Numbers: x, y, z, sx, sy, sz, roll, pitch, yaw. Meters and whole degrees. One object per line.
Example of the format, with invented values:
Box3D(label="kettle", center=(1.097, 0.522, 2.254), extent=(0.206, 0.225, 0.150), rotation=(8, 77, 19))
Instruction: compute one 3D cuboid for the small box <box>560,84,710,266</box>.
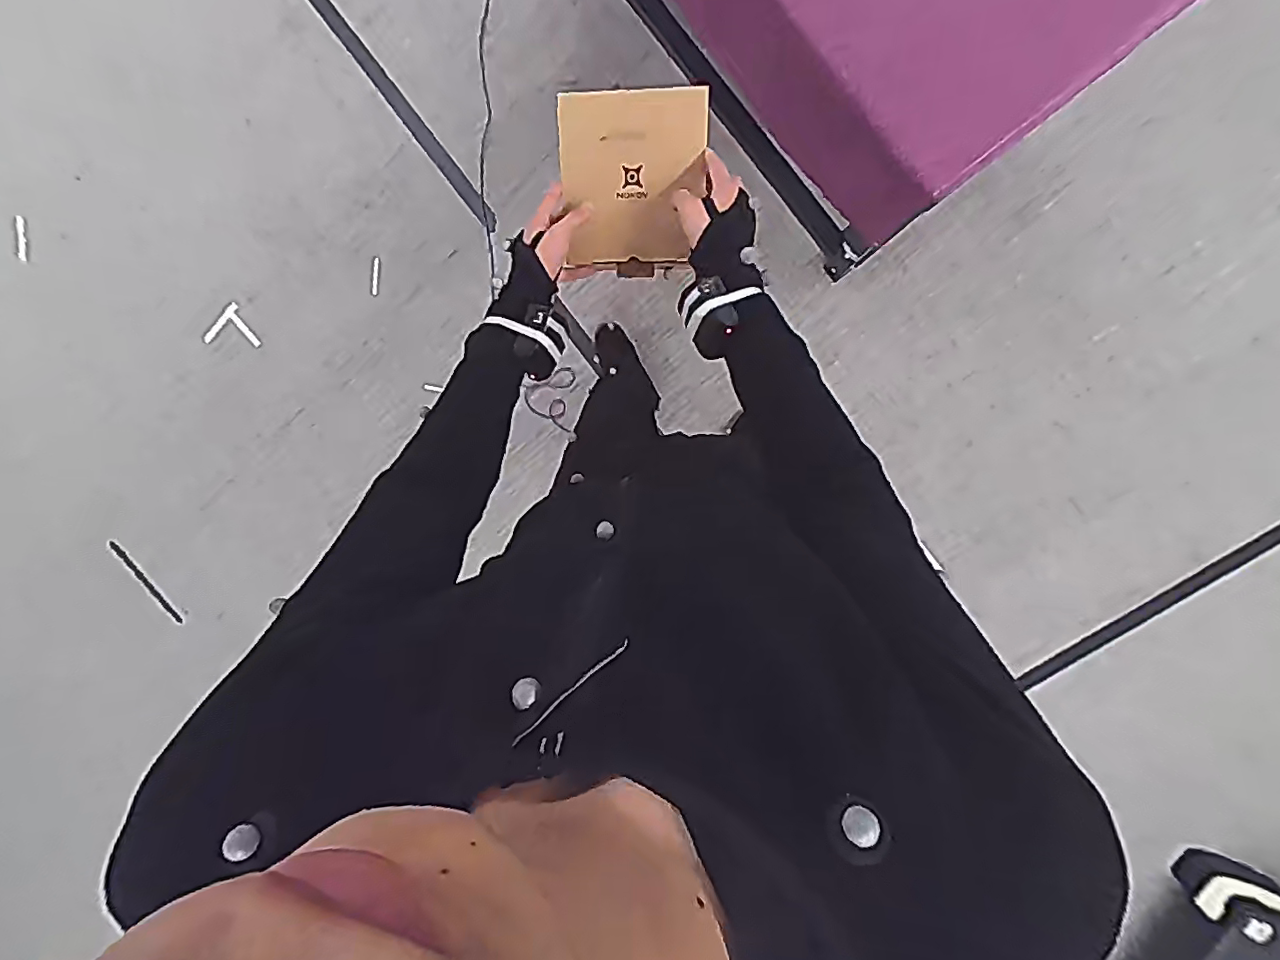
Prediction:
Box3D(label="small box", center=(0.002, -0.367, 0.681), extent=(0.168, 0.176, 0.179), rotation=(2, 109, 5))
